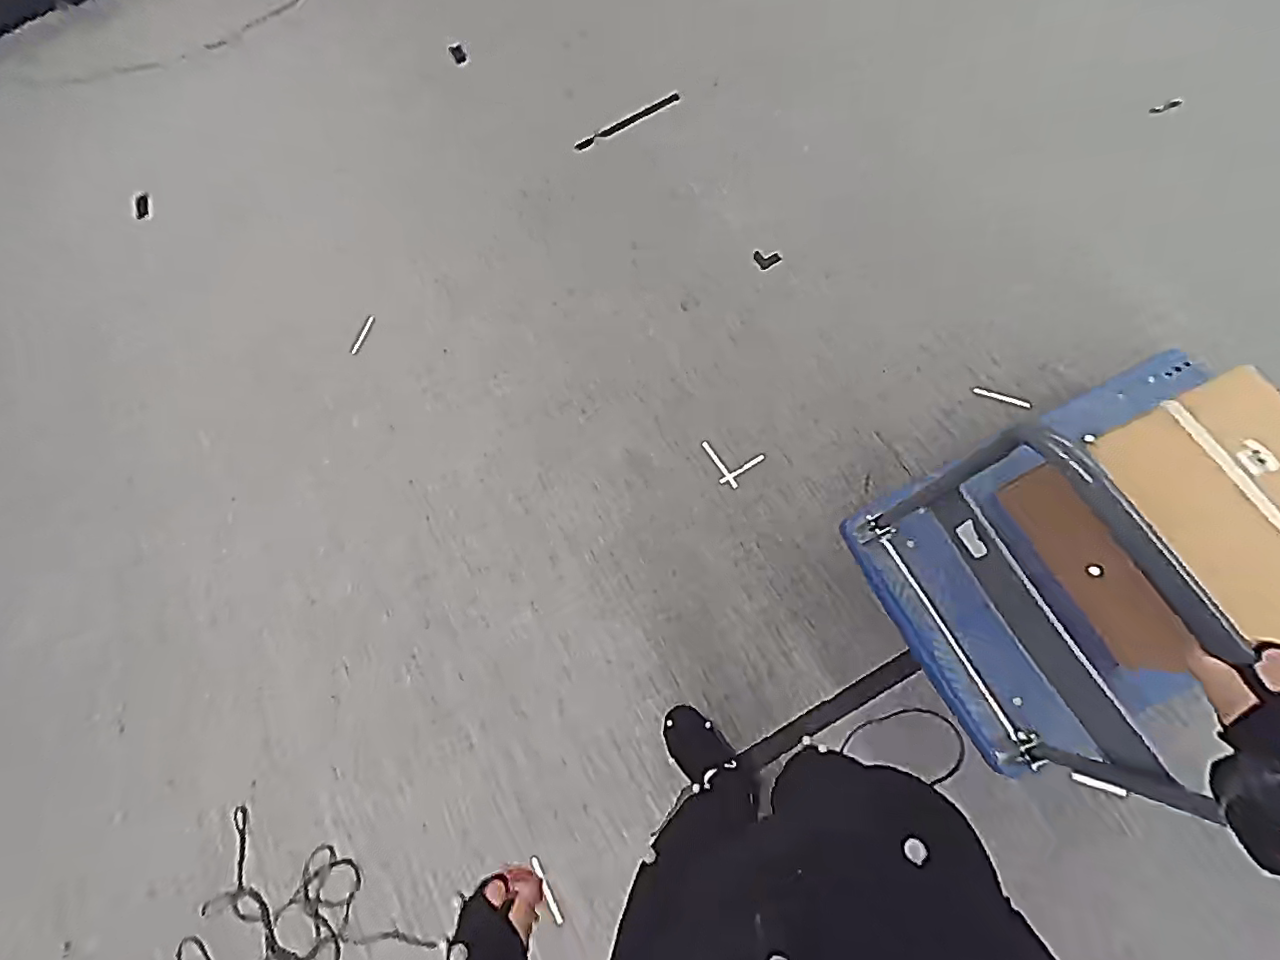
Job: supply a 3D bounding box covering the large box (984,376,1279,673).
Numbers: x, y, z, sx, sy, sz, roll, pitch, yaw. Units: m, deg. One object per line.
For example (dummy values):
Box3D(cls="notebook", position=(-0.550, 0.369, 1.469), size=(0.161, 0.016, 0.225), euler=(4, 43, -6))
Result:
Box3D(cls="large box", position=(0.961, 0.097, 1.005), size=(0.320, 0.320, 0.408), euler=(-27, 71, -2))
